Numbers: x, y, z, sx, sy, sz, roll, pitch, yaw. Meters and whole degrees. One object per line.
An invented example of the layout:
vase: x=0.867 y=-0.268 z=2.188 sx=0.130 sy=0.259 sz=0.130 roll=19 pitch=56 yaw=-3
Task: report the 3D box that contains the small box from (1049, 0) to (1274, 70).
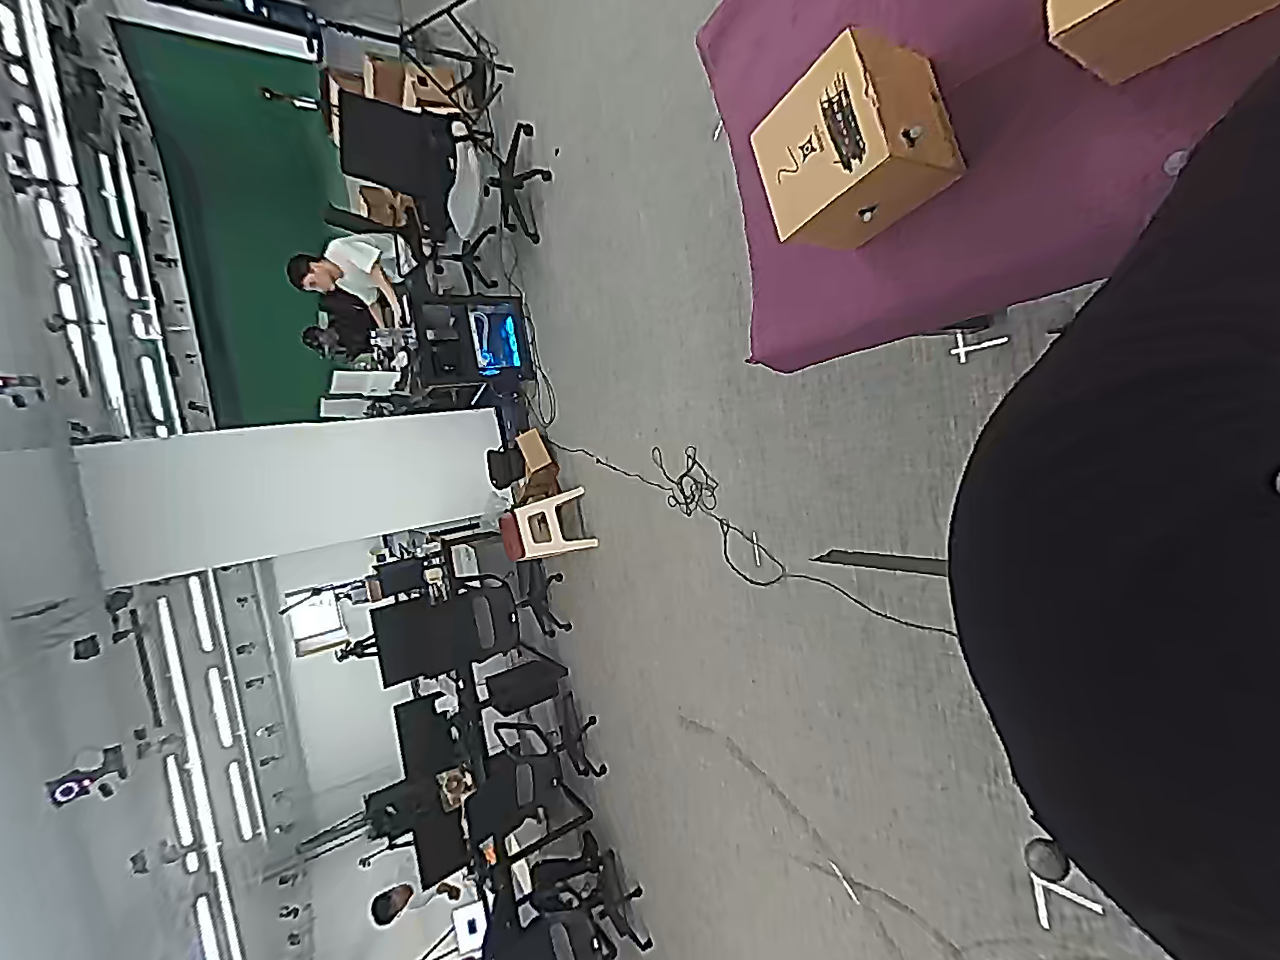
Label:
small box: x=0.459 y=-0.481 z=0.433 sx=0.179 sy=0.176 sz=0.168 roll=-2 pitch=98 yaw=58
